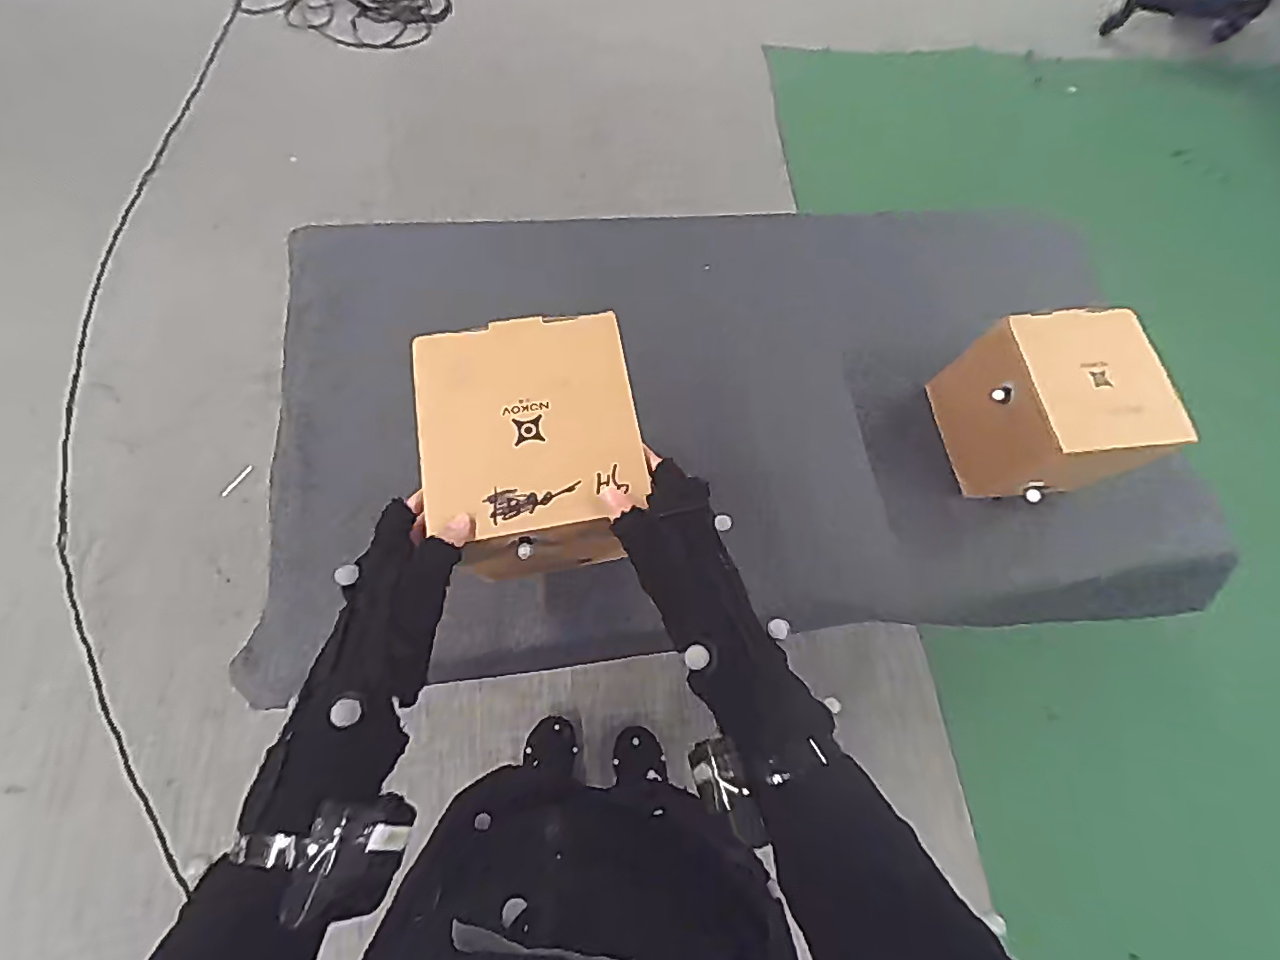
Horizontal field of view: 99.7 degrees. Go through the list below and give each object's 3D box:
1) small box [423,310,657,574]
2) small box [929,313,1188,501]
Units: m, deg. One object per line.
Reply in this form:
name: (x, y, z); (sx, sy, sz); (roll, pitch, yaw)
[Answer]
small box: (-0.084, -0.023, 0.488); (0.168, 0.176, 0.179); (-9, 73, -5)
small box: (0.503, -0.086, 0.684); (0.168, 0.176, 0.179); (-5, 71, -6)
